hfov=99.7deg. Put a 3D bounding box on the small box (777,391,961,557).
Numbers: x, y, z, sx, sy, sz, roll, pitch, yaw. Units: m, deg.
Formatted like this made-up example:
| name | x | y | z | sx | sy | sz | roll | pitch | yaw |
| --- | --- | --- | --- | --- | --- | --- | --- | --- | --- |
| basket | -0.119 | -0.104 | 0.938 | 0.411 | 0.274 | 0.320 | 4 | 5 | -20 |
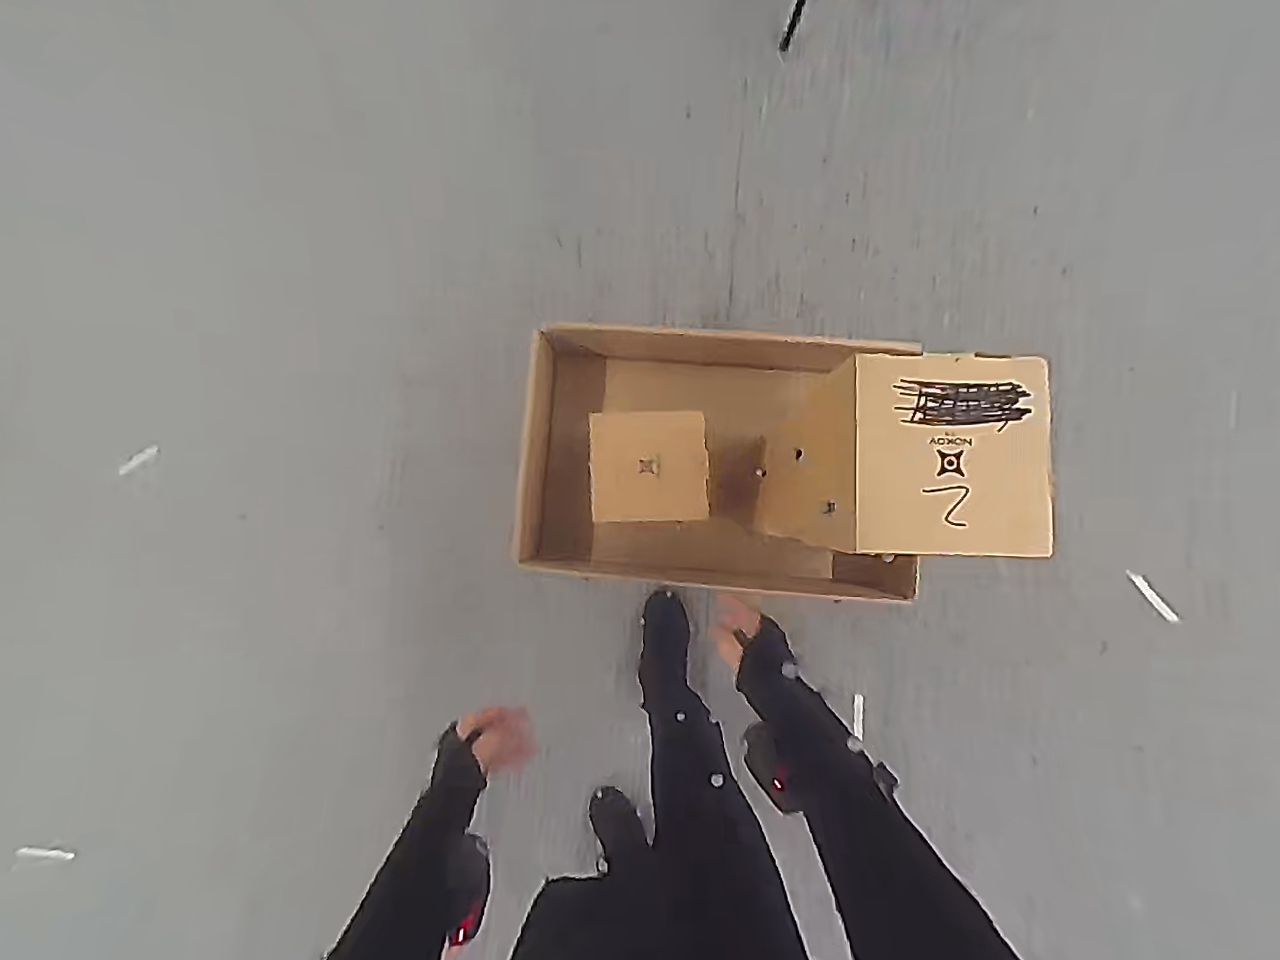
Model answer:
| name | x | y | z | sx | sy | sz | roll | pitch | yaw |
| --- | --- | --- | --- | --- | --- | --- | --- | --- | --- |
| small box | 0.283 | -0.001 | 0.703 | 0.168 | 0.176 | 0.179 | 8 | 85 | 3 |
